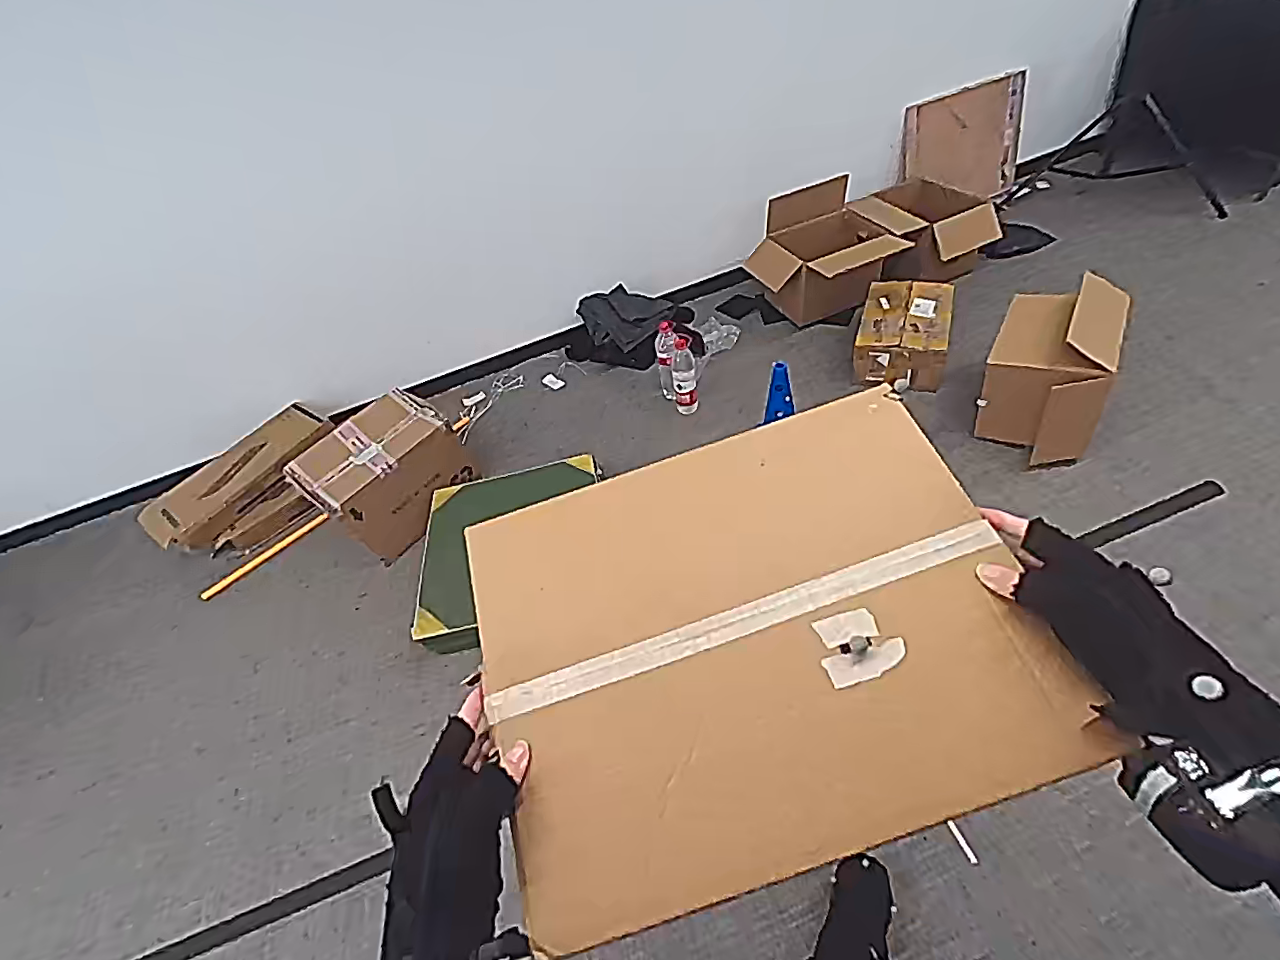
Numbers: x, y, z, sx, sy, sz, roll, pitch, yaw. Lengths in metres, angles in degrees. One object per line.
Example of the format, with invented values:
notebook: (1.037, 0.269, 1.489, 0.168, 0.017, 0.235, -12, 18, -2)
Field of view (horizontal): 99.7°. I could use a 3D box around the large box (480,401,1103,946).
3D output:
large box: (0.102, 0.186, 0.558, 0.408, 0.320, 0.320, -19, 61, -1)
